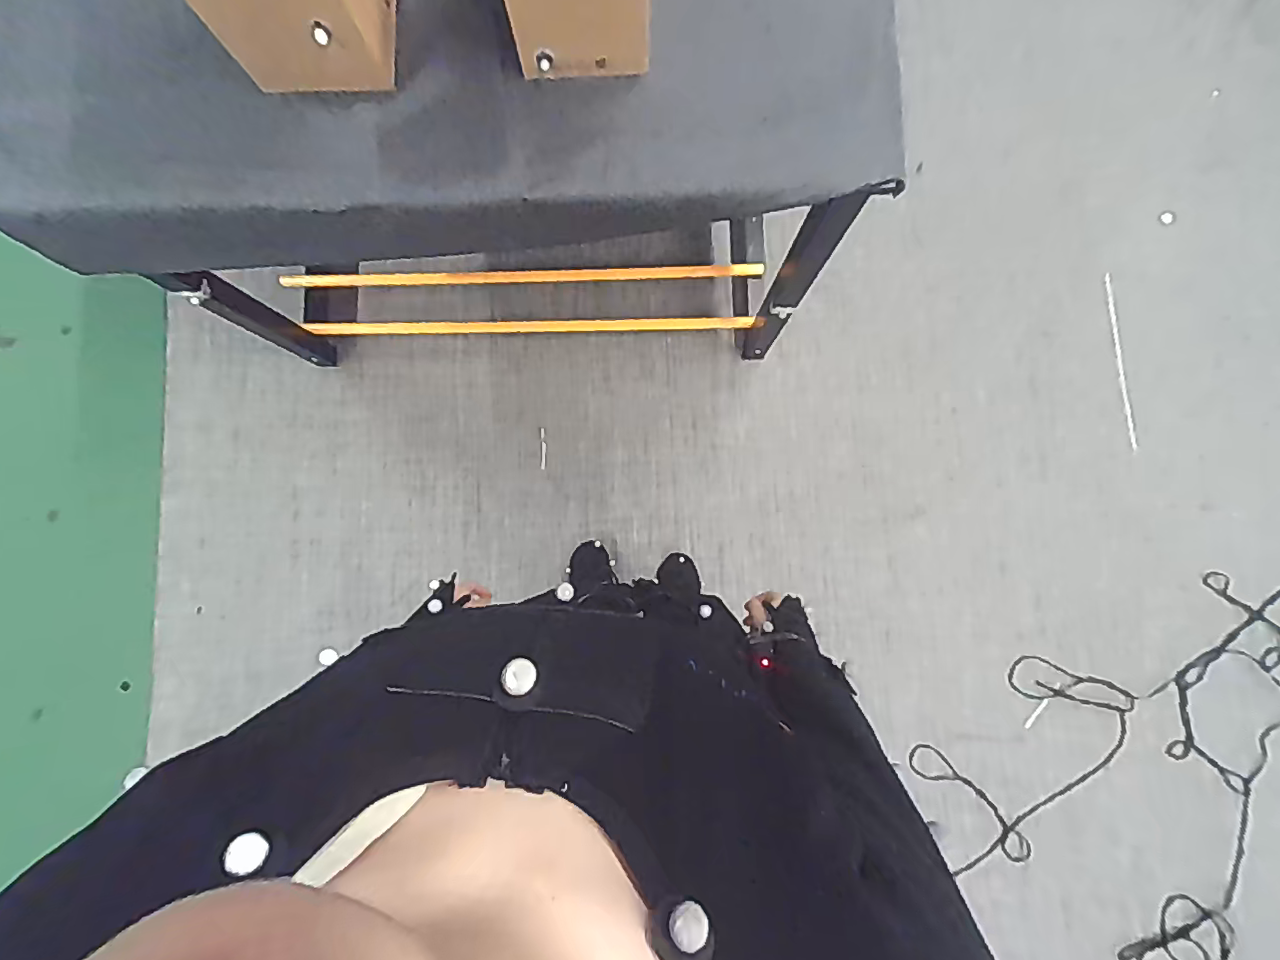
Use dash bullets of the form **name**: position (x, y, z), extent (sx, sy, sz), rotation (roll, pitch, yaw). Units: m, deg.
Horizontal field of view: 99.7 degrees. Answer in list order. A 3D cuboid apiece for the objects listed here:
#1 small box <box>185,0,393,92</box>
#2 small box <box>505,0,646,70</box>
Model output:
- **small box**: position (-0.414, -0.601, 0.643), extent (0.179, 0.176, 0.168), rotation (-2, 83, 1)
- **small box**: position (-0.077, -0.629, 0.644), extent (0.168, 0.176, 0.179), rotation (-3, 83, -1)
